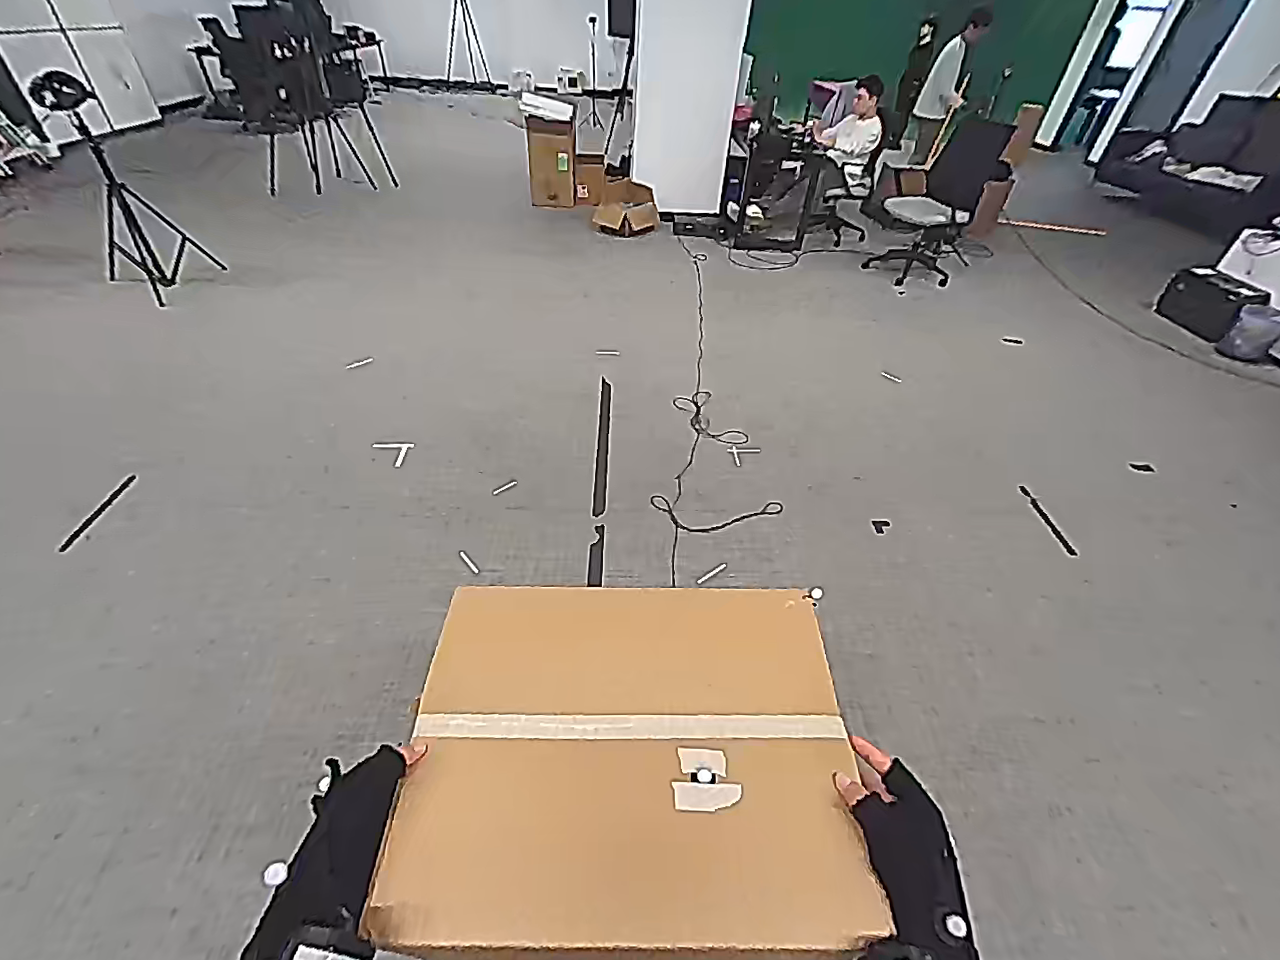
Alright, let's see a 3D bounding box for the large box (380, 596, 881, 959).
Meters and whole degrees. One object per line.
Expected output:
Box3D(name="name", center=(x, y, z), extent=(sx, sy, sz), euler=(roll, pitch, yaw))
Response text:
Box3D(name="large box", center=(-0.011, 0.350, 0.630), extent=(0.408, 0.320, 0.320), euler=(1, 45, 0))
